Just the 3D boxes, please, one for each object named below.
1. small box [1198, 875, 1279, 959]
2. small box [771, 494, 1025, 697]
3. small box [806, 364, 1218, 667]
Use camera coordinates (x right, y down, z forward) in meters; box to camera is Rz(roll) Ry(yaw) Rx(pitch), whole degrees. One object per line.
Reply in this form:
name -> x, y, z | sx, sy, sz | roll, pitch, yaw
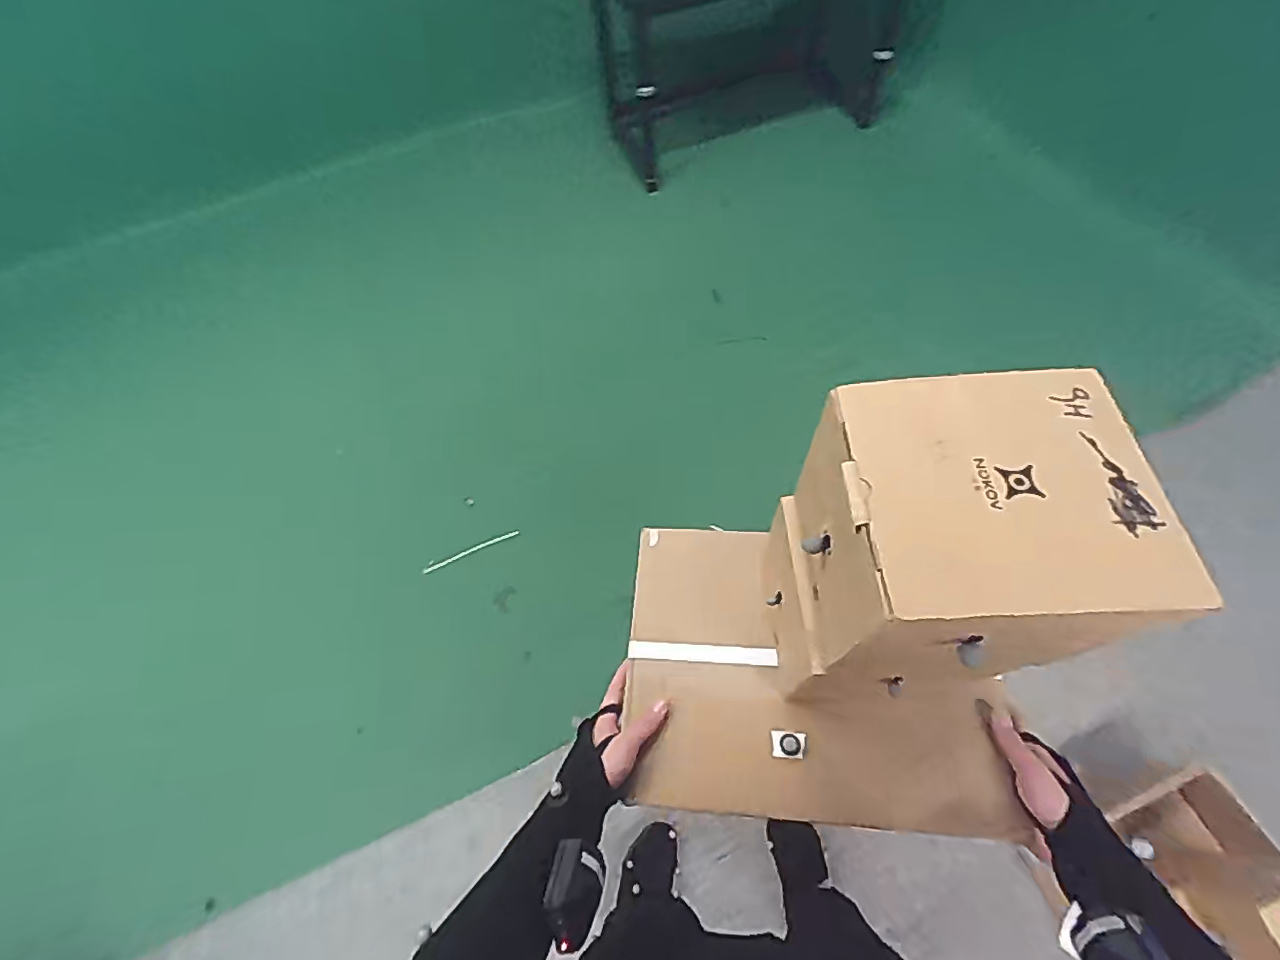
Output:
small box -> 1.138, 0.801, 0.916 | 0.179, 0.176, 0.168 | -16, 62, -2
small box -> 0.232, 0.119, 0.544 | 0.179, 0.176, 0.168 | -4, 61, 3
small box -> 0.228, 0.038, 0.401 | 0.179, 0.176, 0.168 | -4, 61, 4
